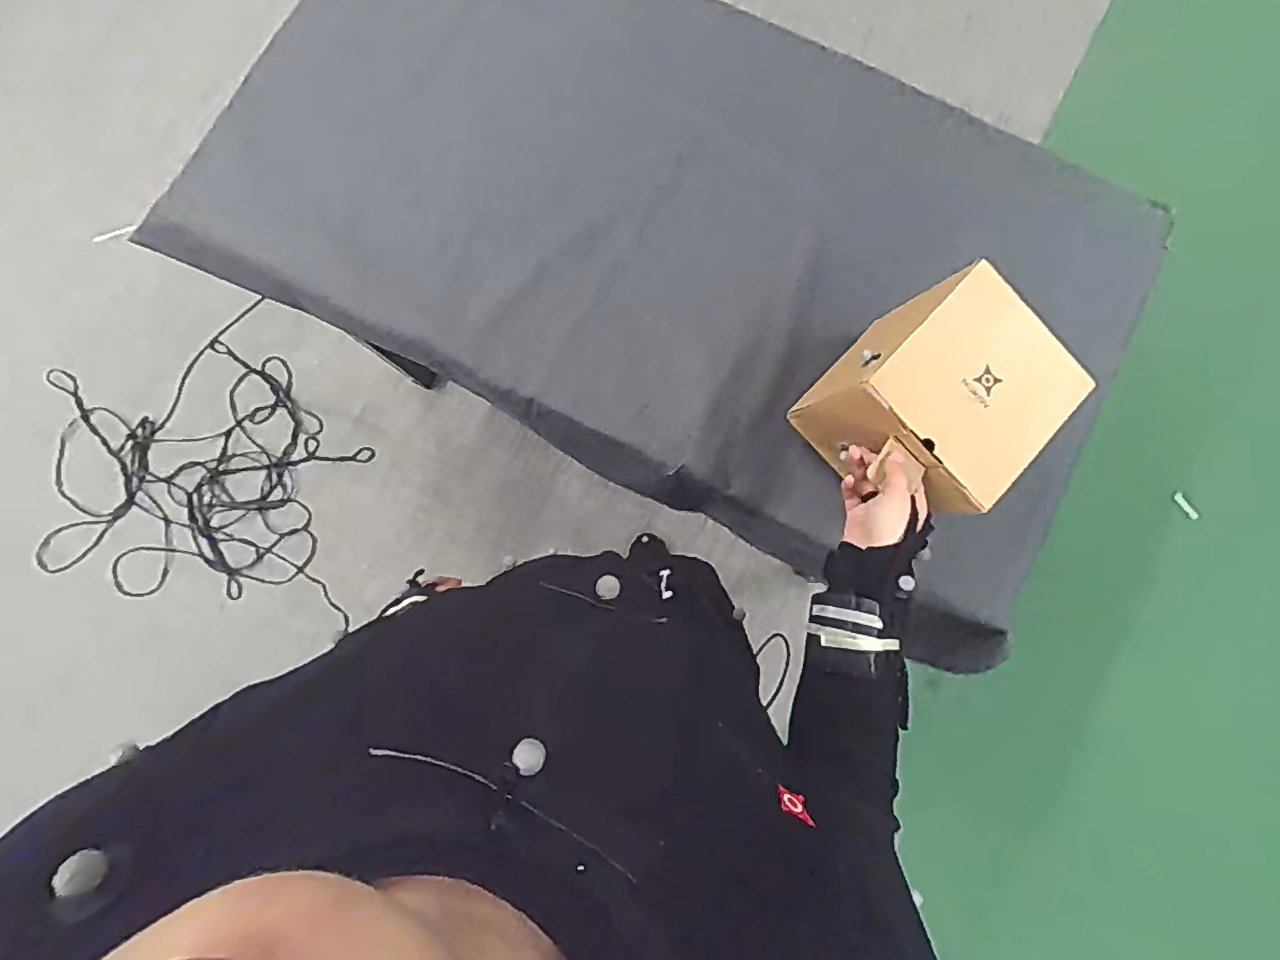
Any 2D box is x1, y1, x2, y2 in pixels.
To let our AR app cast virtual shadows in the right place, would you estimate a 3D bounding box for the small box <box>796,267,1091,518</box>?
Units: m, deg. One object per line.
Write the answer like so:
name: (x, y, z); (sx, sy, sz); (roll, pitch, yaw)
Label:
small box: (0.301, -0.079, 0.572); (0.168, 0.176, 0.179); (45, 82, -5)
